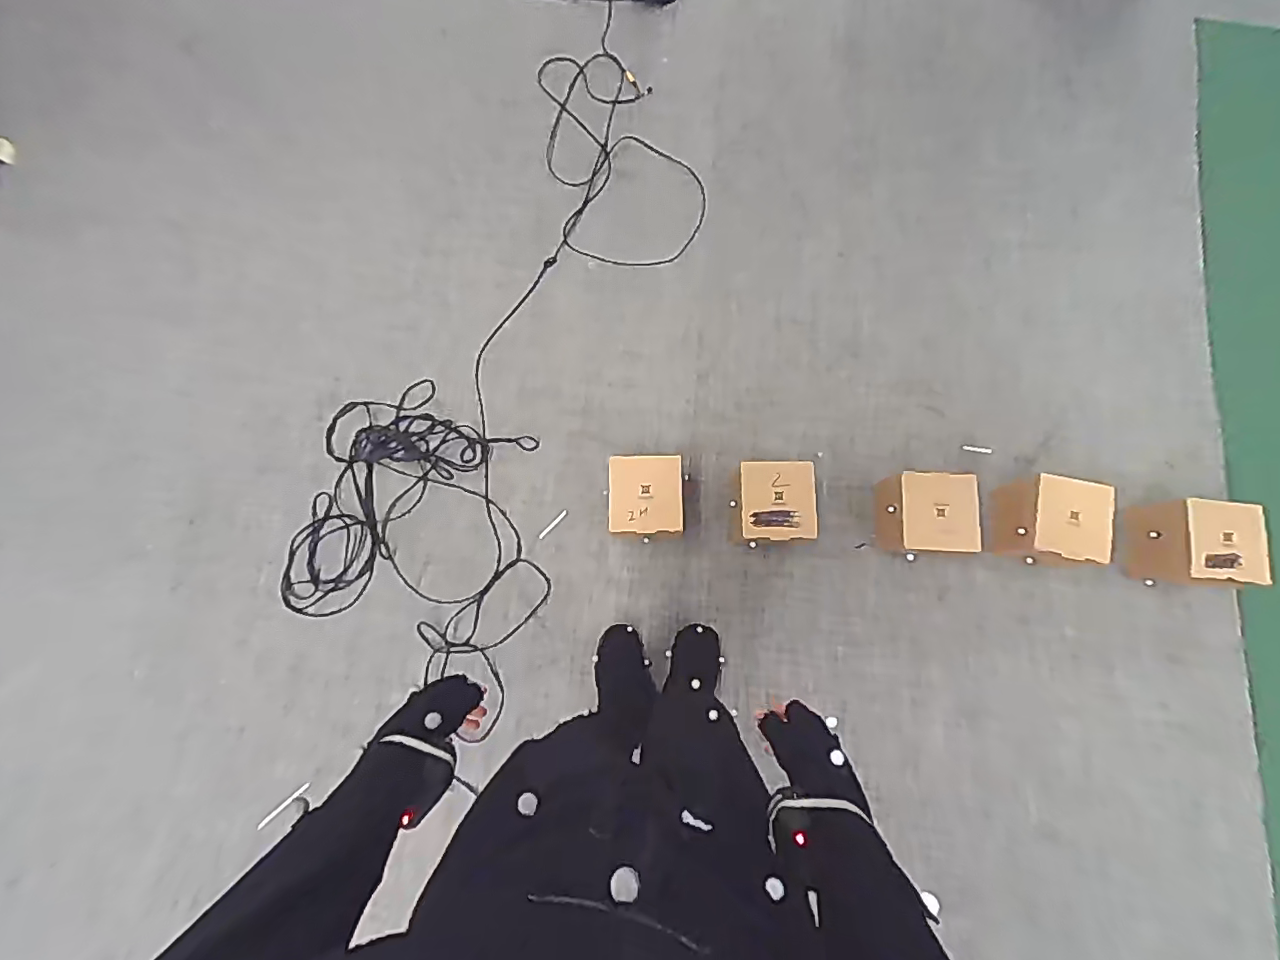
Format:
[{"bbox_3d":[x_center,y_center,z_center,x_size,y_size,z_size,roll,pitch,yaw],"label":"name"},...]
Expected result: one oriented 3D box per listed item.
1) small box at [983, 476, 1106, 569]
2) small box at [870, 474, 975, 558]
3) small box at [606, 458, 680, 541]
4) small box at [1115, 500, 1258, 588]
[{"bbox_3d":[0.939,0.105,1.266,0.168,0.176,0.179,11,80,3],"label":"small box"},{"bbox_3d":[0.654,0.090,1.271,0.168,0.176,0.179,2,81,3],"label":"small box"},{"bbox_3d":[0.008,0.051,1.285,0.168,0.176,0.179,-1,79,1],"label":"small box"},{"bbox_3d":[1.254,0.154,1.254,0.168,0.176,0.179,7,78,2],"label":"small box"}]
